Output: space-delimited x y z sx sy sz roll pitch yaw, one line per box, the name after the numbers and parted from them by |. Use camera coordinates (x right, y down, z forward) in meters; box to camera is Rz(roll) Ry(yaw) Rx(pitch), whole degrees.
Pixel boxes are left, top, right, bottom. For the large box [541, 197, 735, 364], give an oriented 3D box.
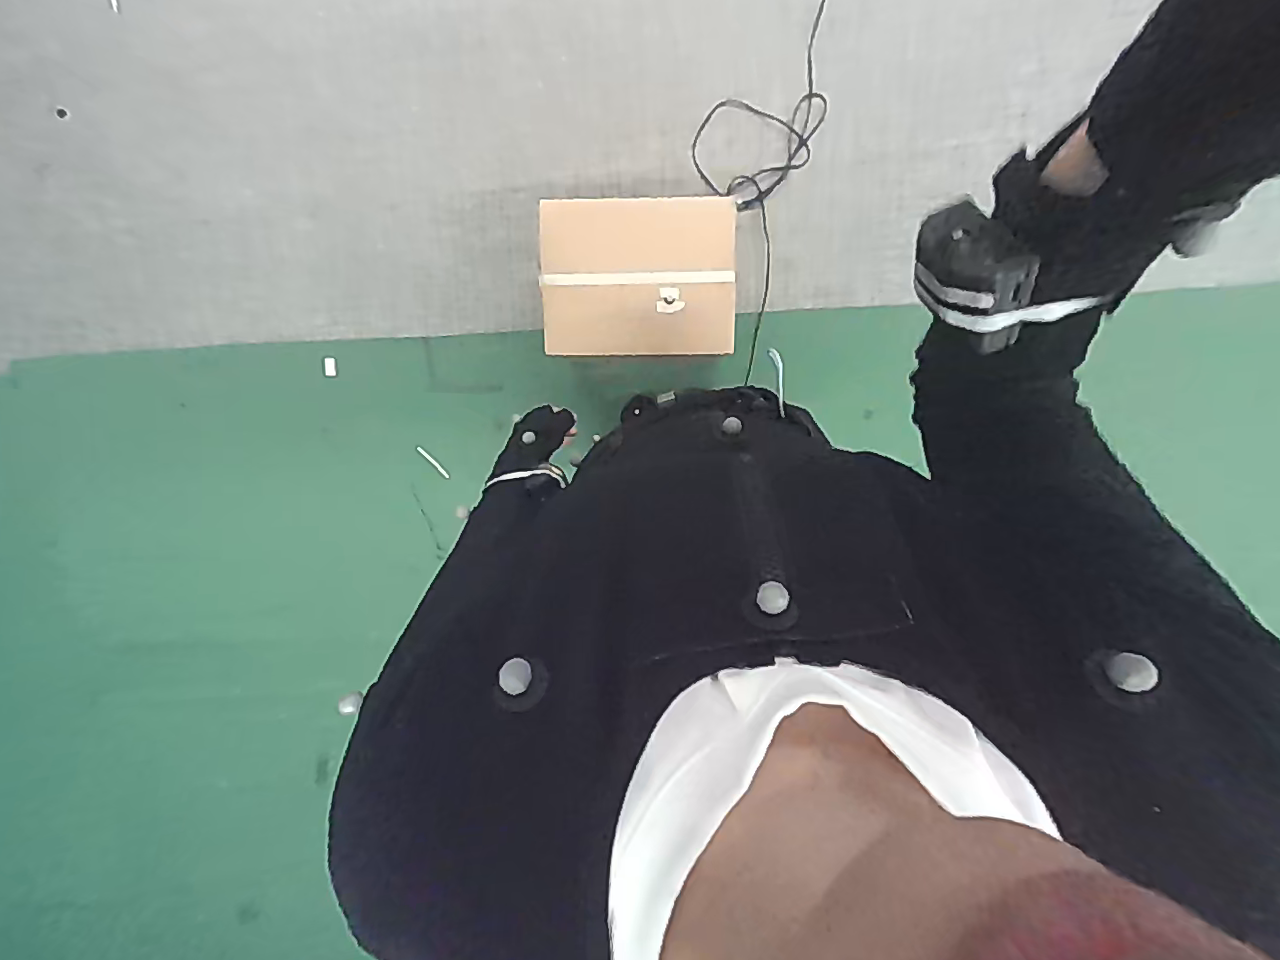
-0.001 -0.443 1.273 0.408 0.320 0.320 0 100 1 | large box
